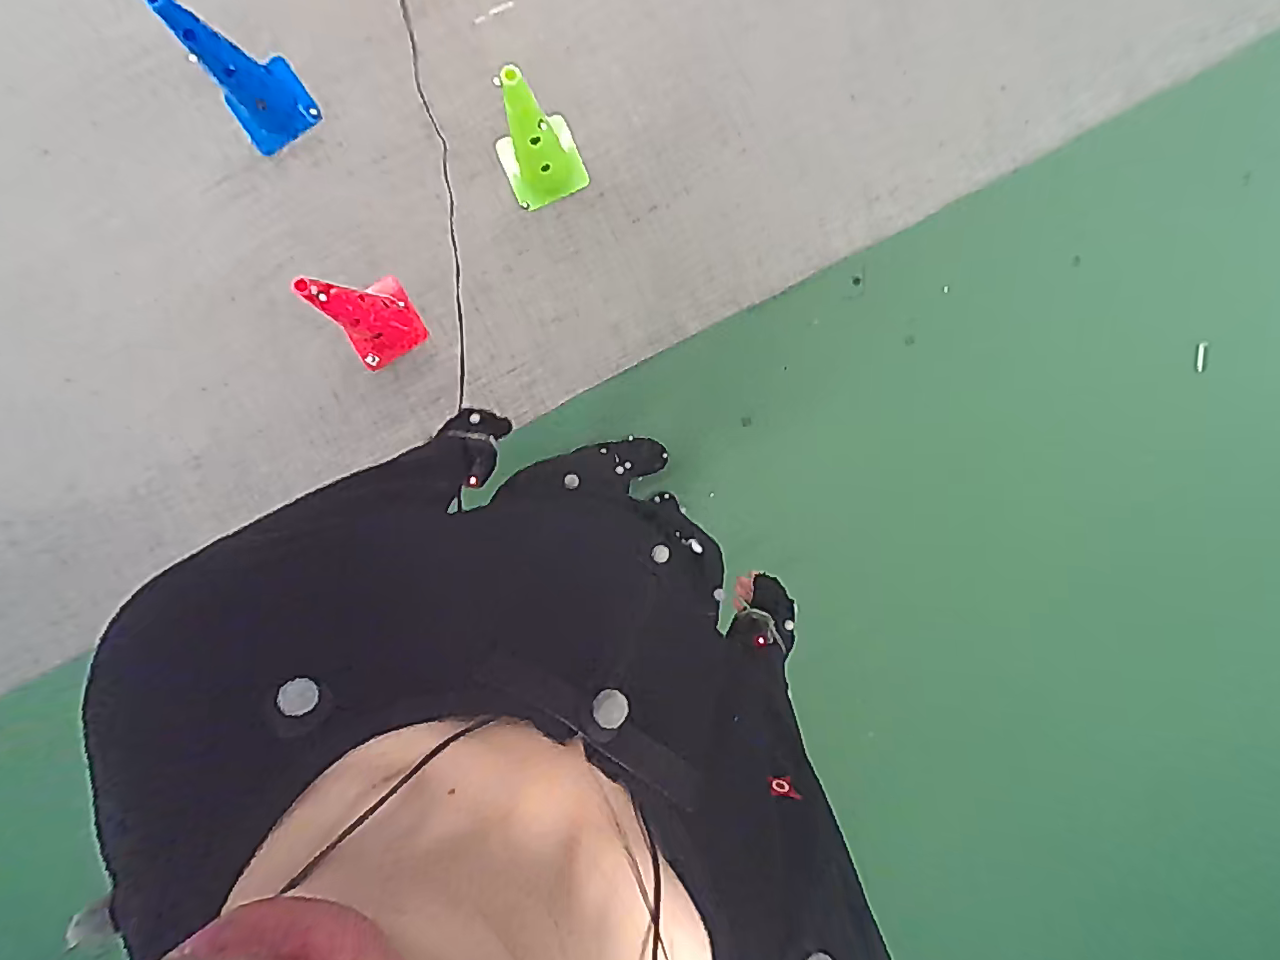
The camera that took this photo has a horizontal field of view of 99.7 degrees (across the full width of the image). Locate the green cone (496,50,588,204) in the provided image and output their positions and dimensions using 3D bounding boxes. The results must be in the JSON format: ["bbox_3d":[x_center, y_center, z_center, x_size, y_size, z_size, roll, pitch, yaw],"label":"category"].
[{"bbox_3d":[-0.260,-0.849,1.262,0.200,0.368,0.202,-25,93,2],"label":"green cone"}]
